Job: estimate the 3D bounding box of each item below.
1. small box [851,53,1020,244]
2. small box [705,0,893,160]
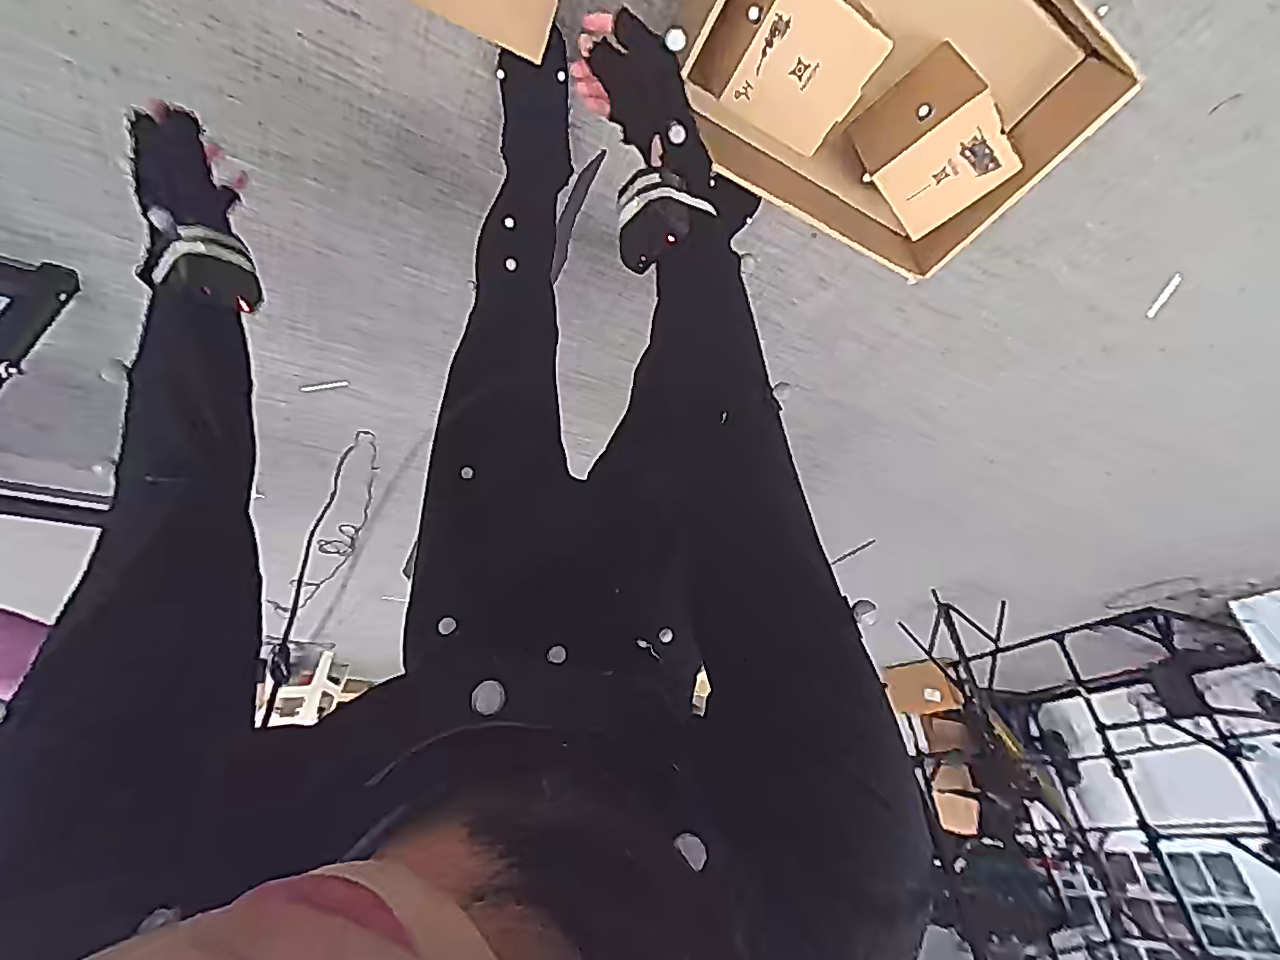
[{"bbox_3d":[0.480,-0.546,0.896,0.179,0.176,0.168,-29,137,35],"label":"small box"},{"bbox_3d":[0.216,-0.611,0.772,0.179,0.176,0.168,13,142,-26],"label":"small box"}]
